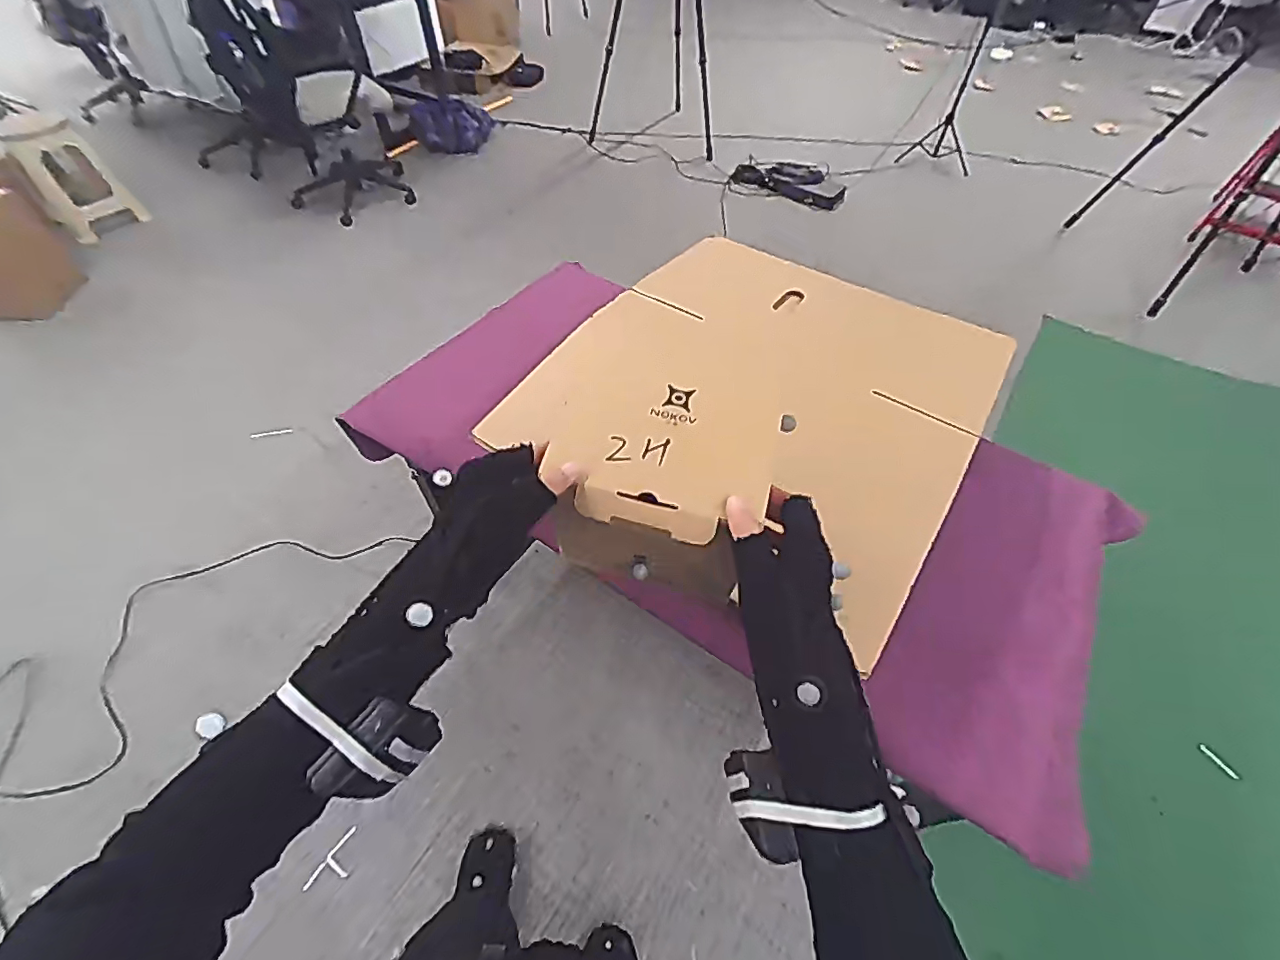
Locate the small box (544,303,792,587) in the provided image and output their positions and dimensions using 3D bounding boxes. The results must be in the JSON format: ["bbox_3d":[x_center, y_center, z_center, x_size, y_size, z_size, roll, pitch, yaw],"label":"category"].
[{"bbox_3d":[0.027,-0.025,0.498,0.168,0.176,0.179,14,62,7],"label":"small box"}]
